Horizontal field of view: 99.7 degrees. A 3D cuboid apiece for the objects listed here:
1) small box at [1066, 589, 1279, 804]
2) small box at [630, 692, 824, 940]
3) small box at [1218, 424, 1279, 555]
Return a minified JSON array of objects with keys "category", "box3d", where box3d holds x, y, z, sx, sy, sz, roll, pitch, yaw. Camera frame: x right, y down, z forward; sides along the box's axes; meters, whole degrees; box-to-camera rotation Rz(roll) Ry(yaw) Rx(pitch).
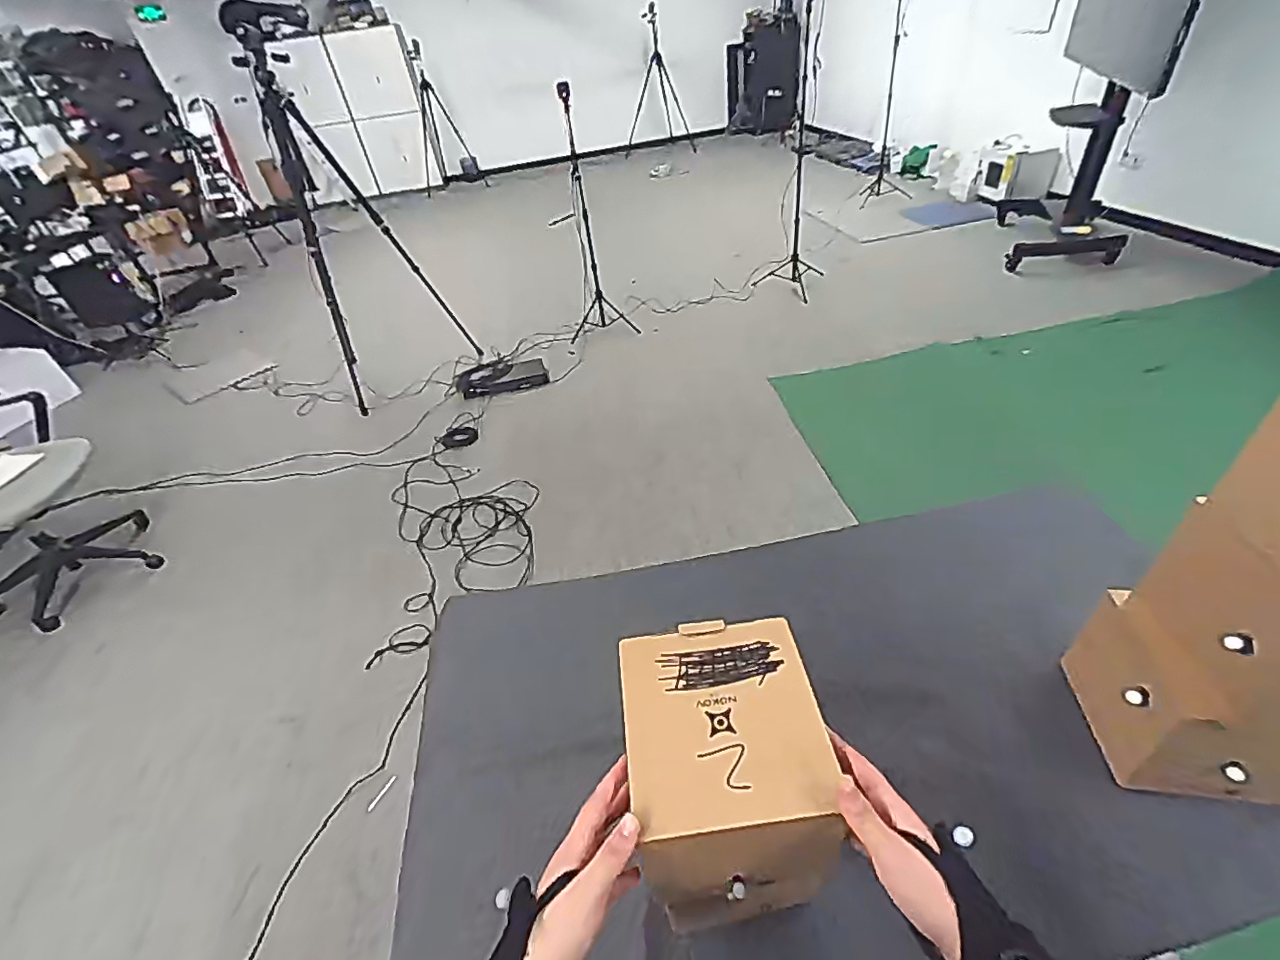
[{"category":"small box","box3d":[0.657,0.255,0.642,0.168,0.176,0.179,1,39,12]},{"category":"small box","box3d":[0.089,0.379,0.617,0.168,0.176,0.179,-12,39,-3]},{"category":"small box","box3d":[0.643,0.009,0.426,0.168,0.176,0.179,-6,39,4]}]
